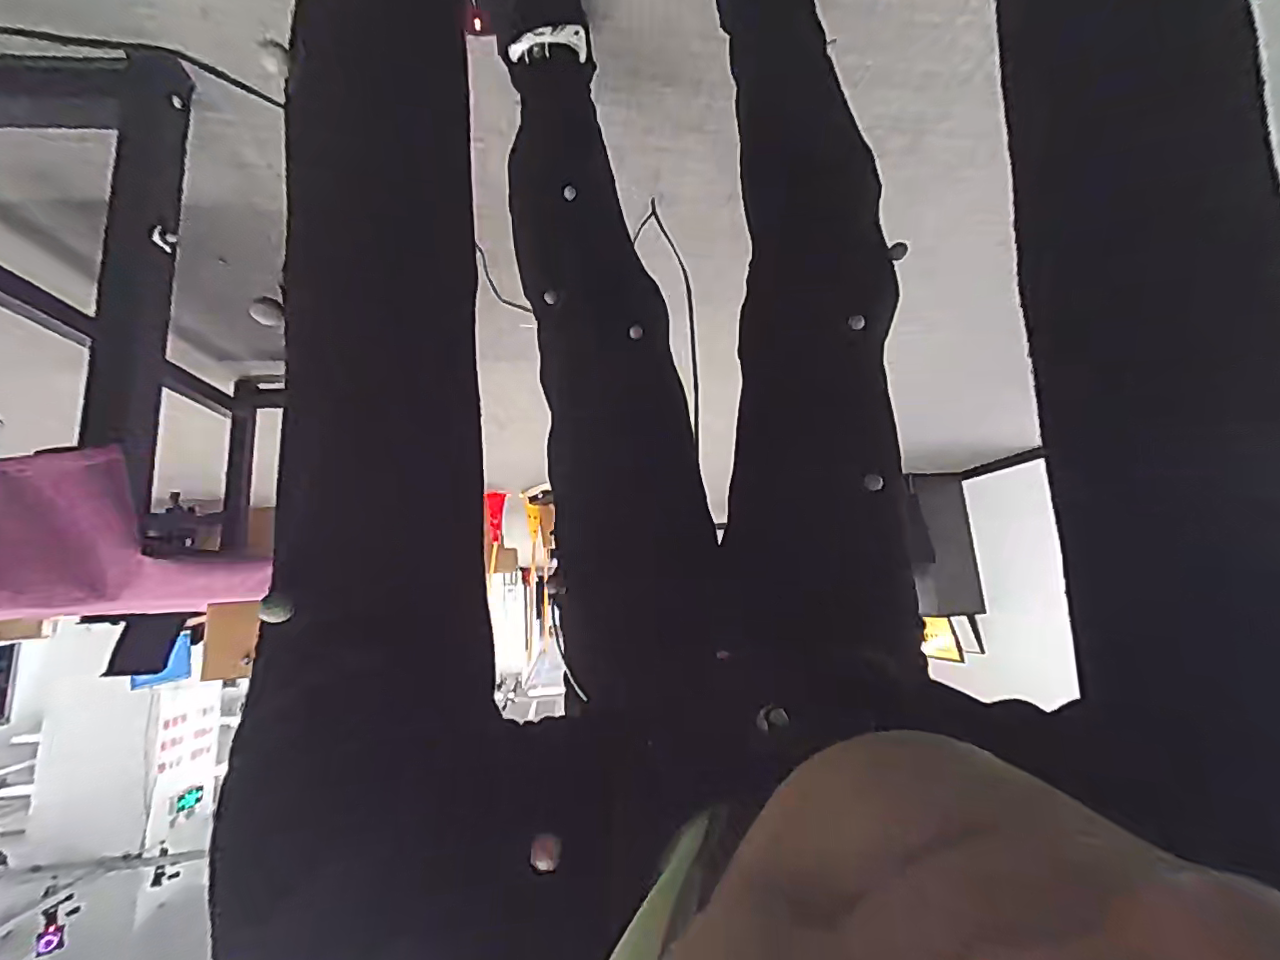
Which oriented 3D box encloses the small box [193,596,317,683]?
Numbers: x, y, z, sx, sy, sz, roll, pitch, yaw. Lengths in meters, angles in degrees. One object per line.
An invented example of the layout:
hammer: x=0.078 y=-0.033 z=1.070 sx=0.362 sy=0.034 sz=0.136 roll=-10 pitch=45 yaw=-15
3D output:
small box: x=-0.871 y=0.361 z=1.242 sx=0.179 sy=0.176 sz=0.168 roll=-3 pitch=168 yaw=-6
